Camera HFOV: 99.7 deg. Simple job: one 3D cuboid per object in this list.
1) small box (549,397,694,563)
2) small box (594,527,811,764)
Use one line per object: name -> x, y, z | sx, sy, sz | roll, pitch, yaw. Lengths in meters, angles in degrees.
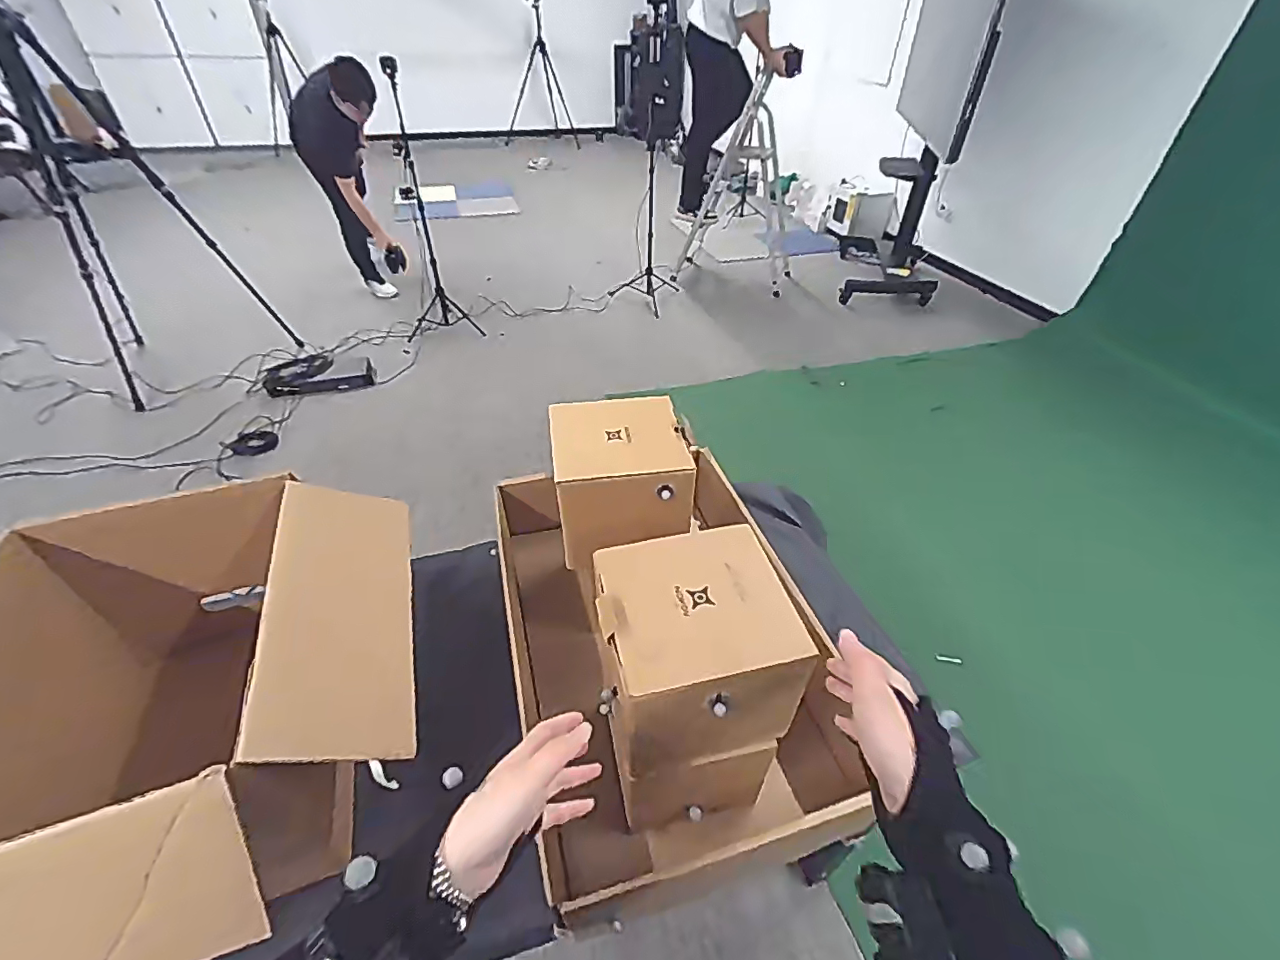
small box -> -0.031, 0.002, 0.767 | 0.179, 0.176, 0.168 | -5, 43, -9
small box -> 0.052, 0.176, 0.578 | 0.179, 0.176, 0.168 | -8, 44, -11
